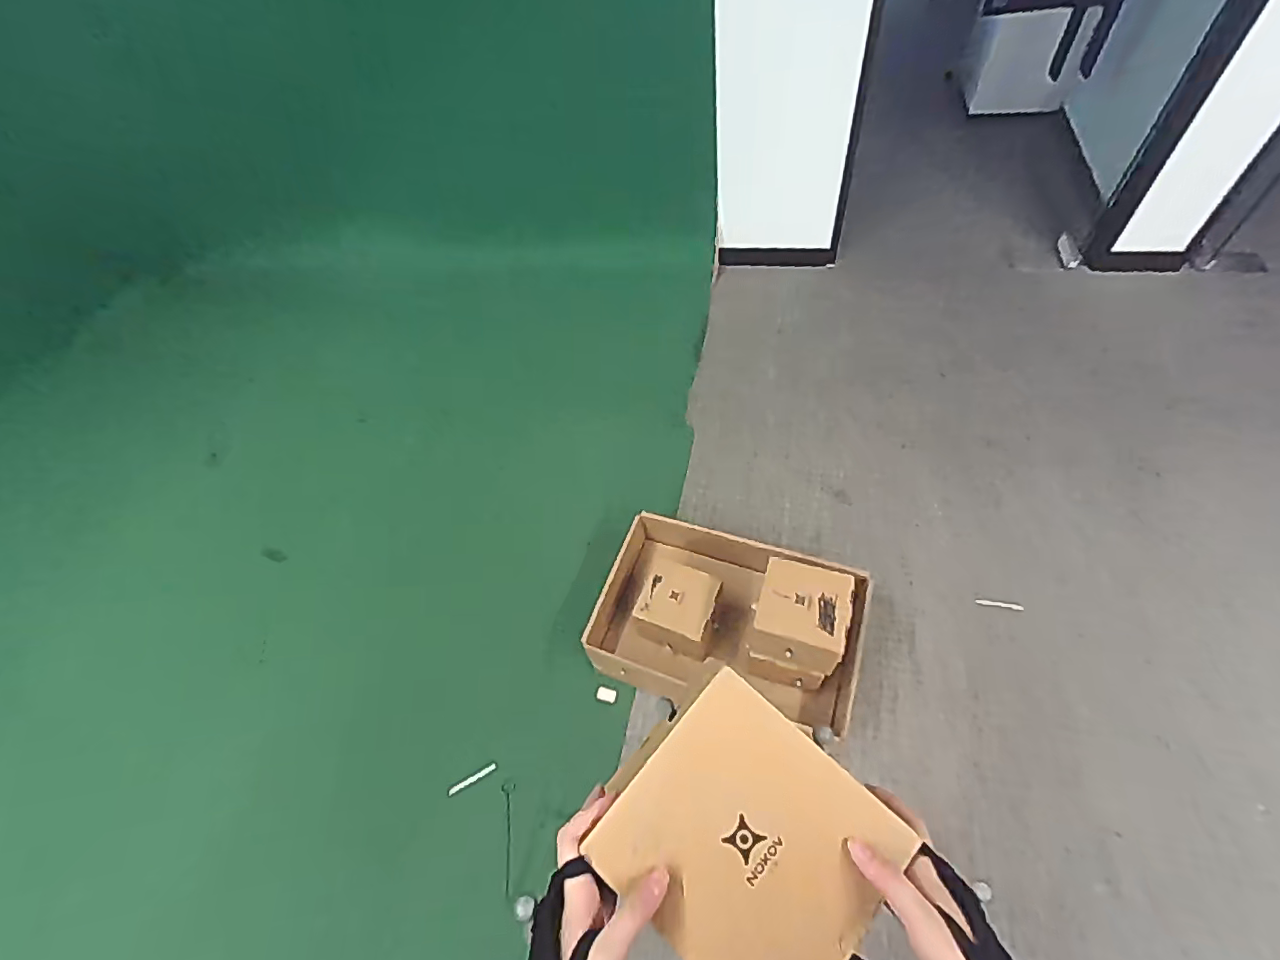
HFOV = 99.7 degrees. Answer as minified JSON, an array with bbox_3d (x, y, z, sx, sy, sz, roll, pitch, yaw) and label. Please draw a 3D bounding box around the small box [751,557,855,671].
[{"bbox_3d":[0.340,0.289,1.147,0.179,0.176,0.168,12,59,17],"label":"small box"}]
